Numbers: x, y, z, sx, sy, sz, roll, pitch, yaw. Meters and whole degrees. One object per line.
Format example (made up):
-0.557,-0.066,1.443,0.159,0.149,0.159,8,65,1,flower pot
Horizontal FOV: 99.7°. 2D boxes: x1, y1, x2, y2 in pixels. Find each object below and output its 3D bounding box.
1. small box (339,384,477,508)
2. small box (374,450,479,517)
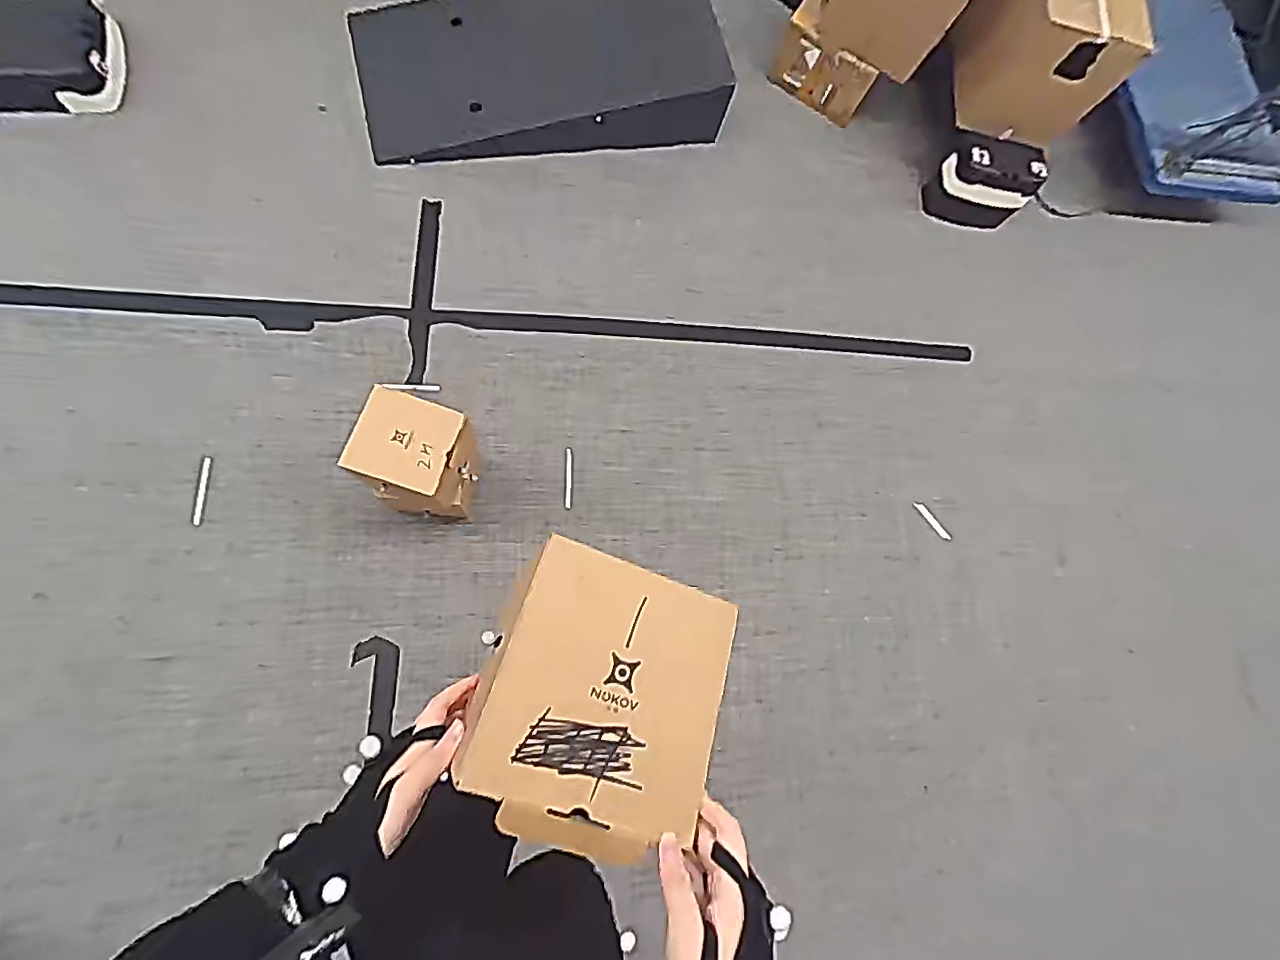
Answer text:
-0.432,-0.055,1.041,0.179,0.176,0.168,20,75,-6,small box
-0.462,-0.016,1.199,0.179,0.176,0.168,8,76,-10,small box
